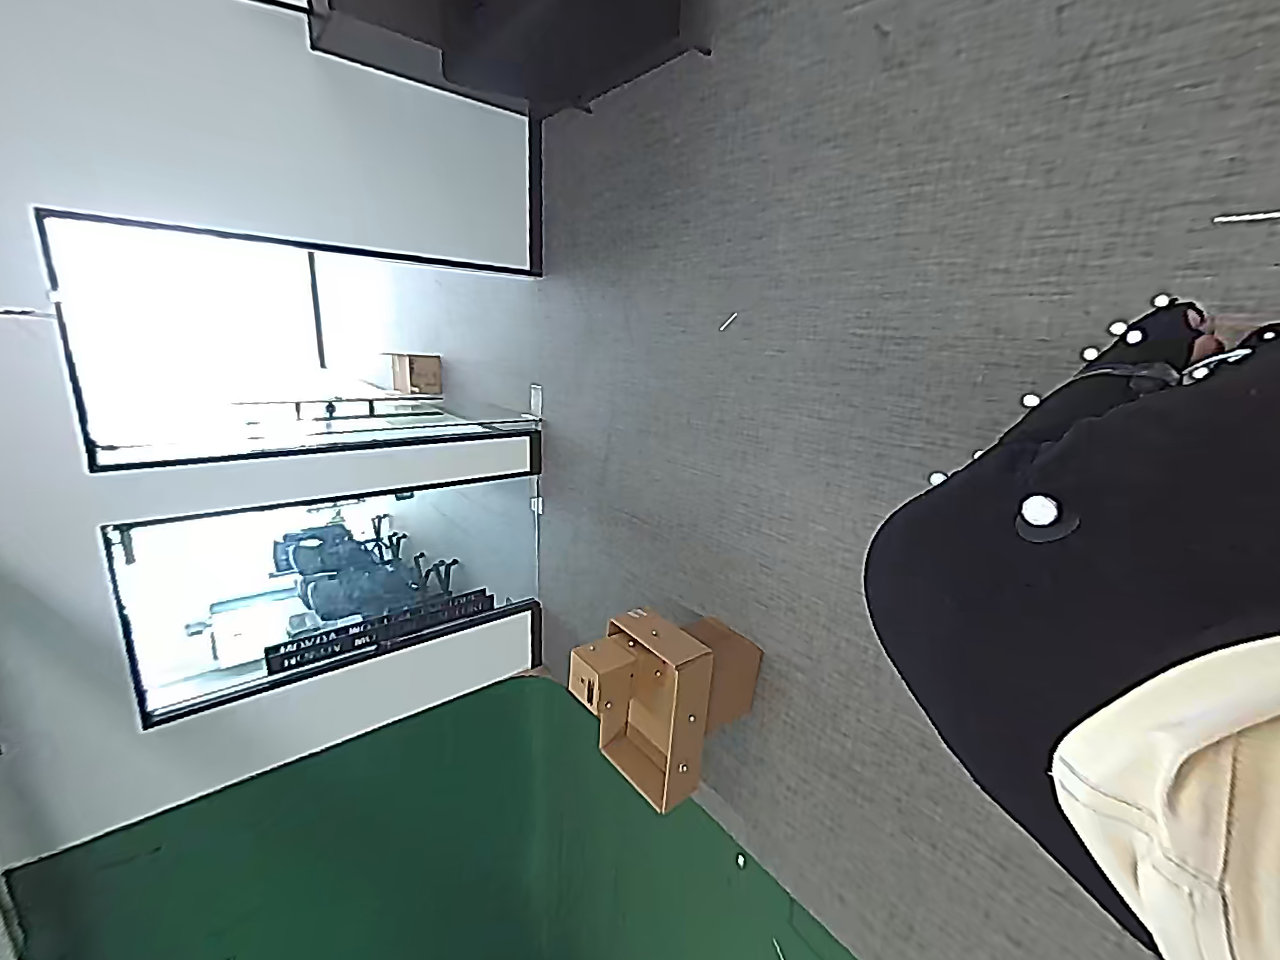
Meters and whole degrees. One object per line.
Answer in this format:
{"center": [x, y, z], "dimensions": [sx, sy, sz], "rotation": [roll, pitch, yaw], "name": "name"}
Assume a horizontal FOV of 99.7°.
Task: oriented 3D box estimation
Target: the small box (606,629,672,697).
{"center": [-0.005, 0.682, 2.043], "dimensions": [0.179, 0.176, 0.168], "rotation": [22, 112, 46], "name": "small box"}
